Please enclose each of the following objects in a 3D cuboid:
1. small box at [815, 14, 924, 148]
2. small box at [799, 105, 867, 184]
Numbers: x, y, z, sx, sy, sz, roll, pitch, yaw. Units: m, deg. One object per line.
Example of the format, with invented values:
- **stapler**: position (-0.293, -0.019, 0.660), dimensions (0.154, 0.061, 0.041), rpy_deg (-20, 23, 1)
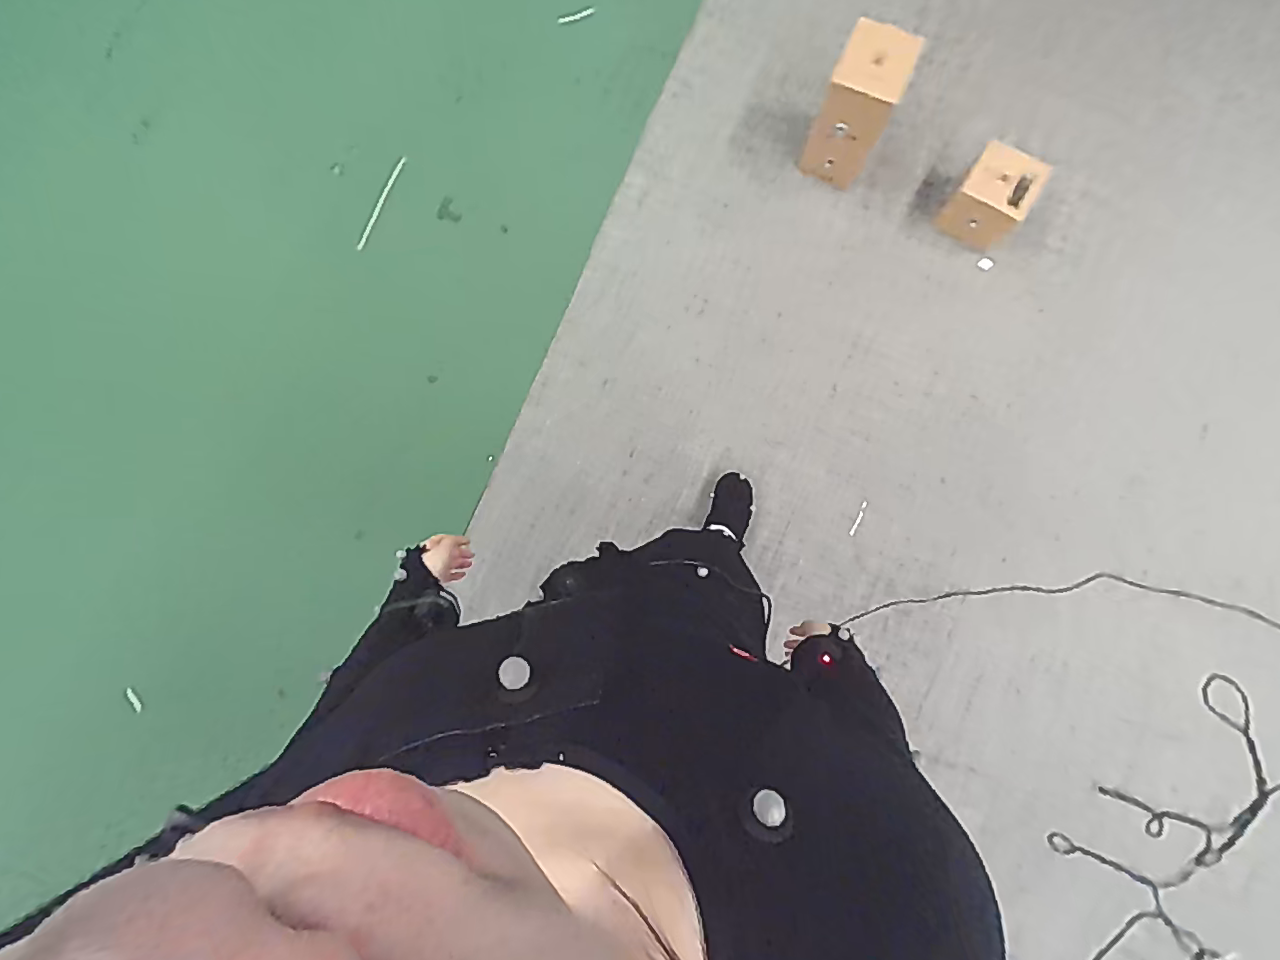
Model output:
- **small box**: position (0.551, -0.969, 1.326), dimensions (0.168, 0.176, 0.179), rpy_deg (24, 89, 5)
- **small box**: position (0.557, -0.962, 1.489), dimensions (0.168, 0.176, 0.179), rpy_deg (28, 89, 4)
